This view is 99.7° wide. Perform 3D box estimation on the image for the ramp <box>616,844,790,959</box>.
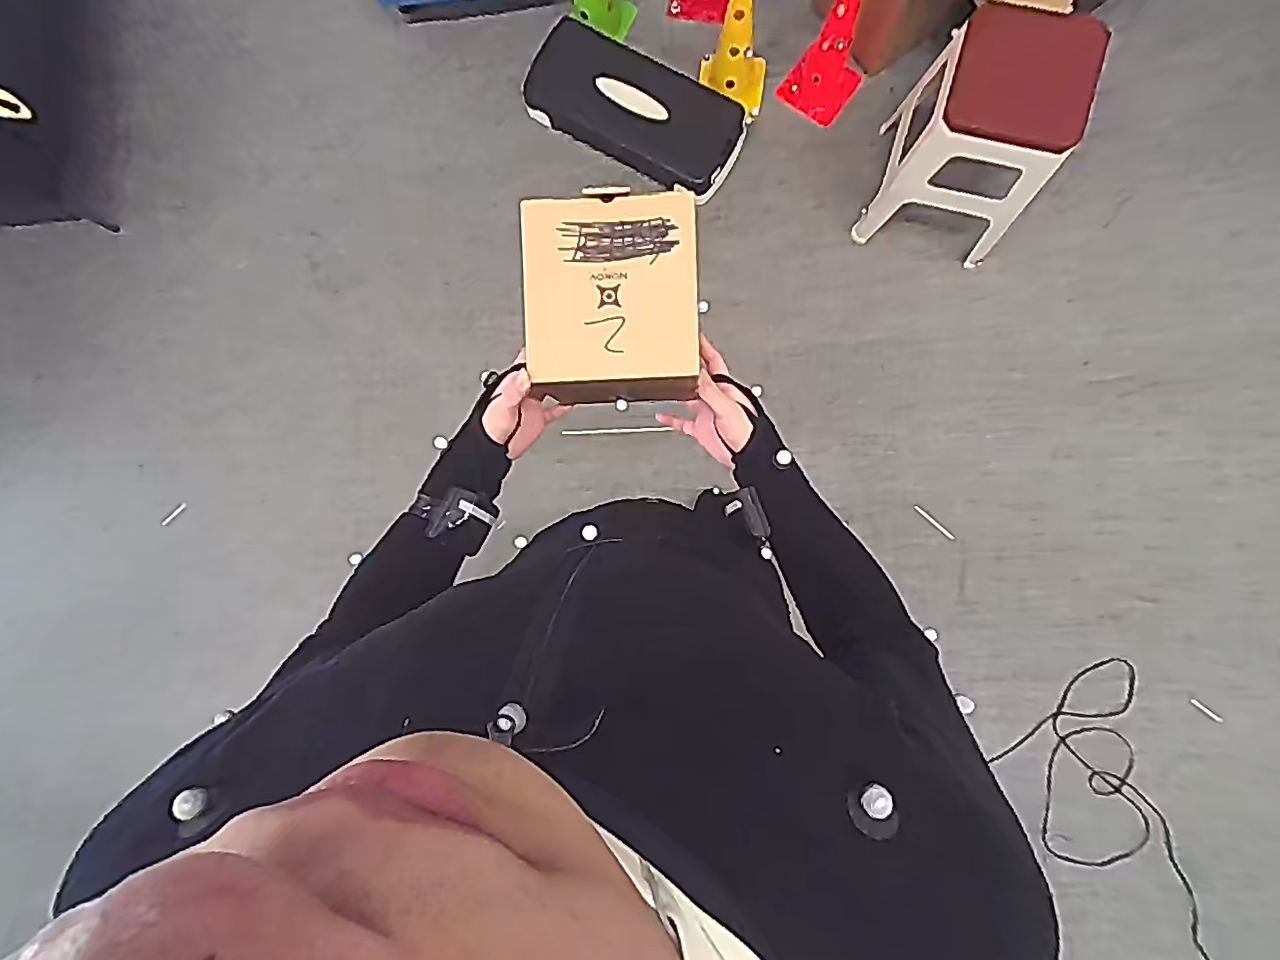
[{"bbox_3d":[0.185,1.563,1.486,0.509,0.206,0.991,-5,87,6],"label":"ramp"}]
